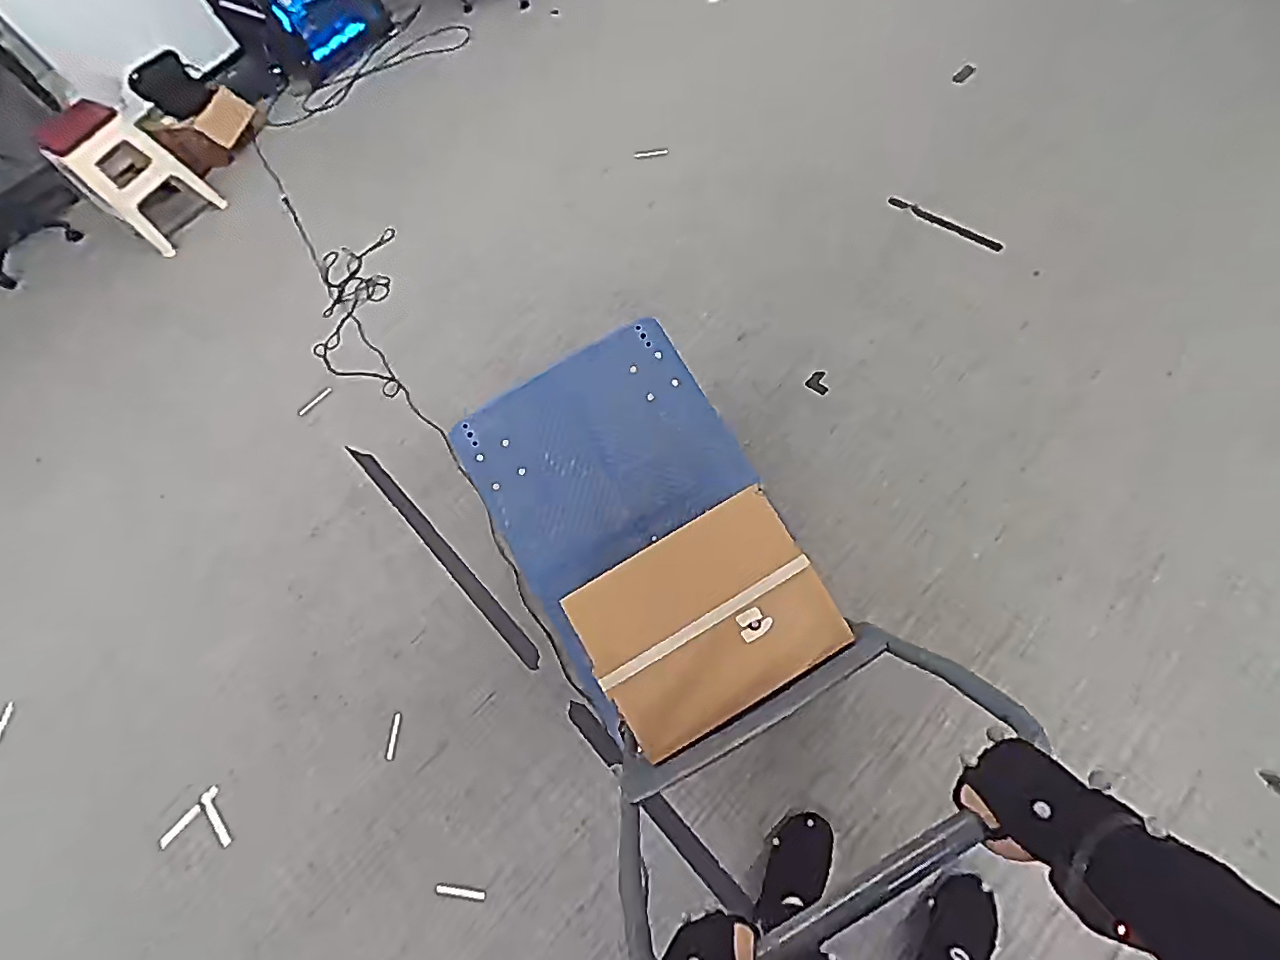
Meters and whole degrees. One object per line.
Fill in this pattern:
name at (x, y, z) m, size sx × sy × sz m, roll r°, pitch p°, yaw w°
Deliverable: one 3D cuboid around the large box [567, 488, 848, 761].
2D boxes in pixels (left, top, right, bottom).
large box at (0.117, 0.268, 1.085) m, size 0.408 × 0.320 × 0.320 m, roll -31°, pitch 83°, yaw -4°
